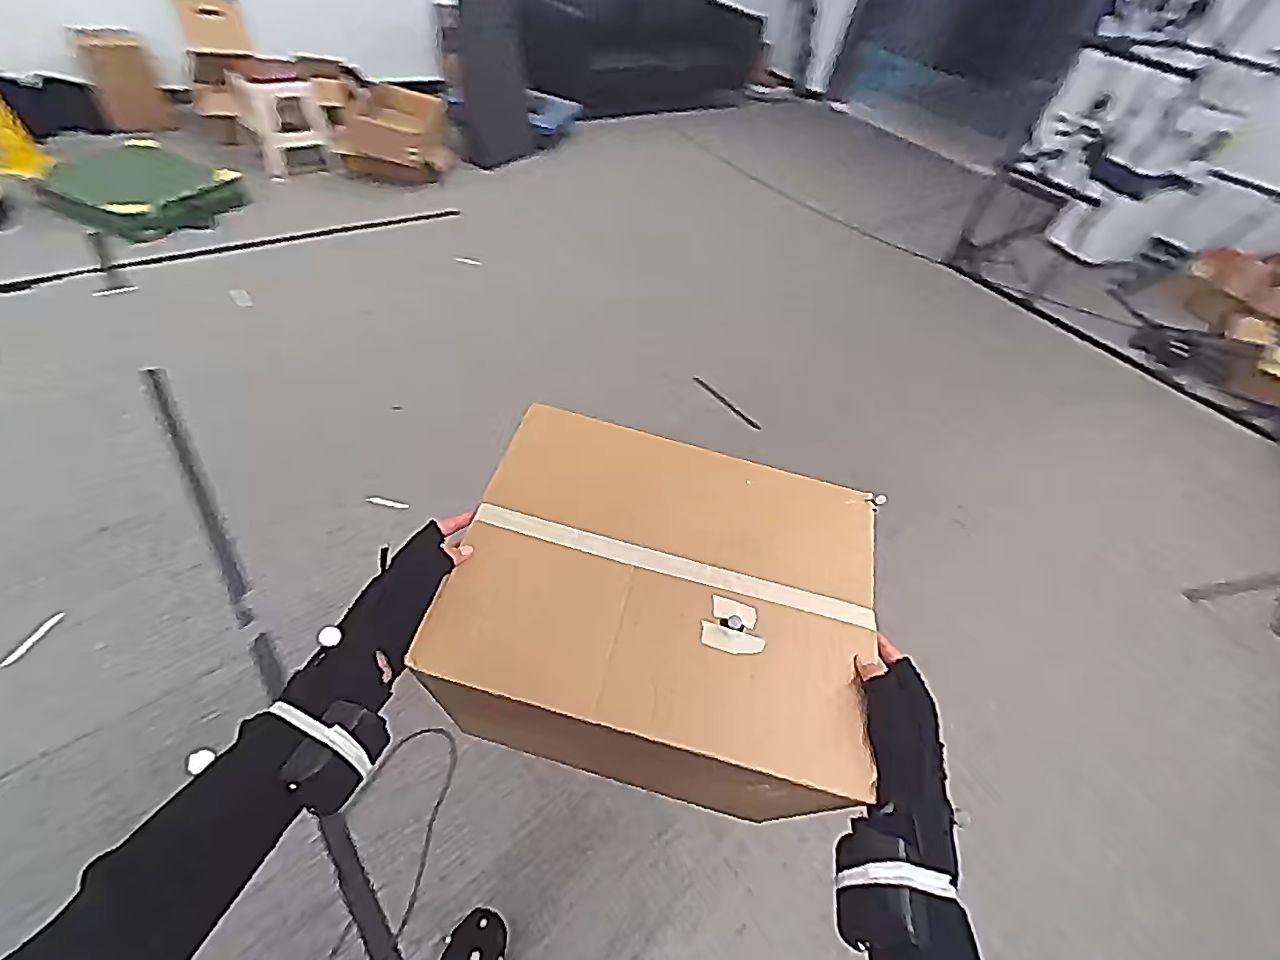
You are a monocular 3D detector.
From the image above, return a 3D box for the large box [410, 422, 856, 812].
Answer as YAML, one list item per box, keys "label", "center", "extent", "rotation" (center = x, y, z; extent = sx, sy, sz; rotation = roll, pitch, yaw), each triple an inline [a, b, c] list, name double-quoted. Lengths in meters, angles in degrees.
- label: "large box"
  center: [0.001, 0.180, 0.668]
  extent: [0.408, 0.320, 0.320]
  rotation: [15, 55, 1]
